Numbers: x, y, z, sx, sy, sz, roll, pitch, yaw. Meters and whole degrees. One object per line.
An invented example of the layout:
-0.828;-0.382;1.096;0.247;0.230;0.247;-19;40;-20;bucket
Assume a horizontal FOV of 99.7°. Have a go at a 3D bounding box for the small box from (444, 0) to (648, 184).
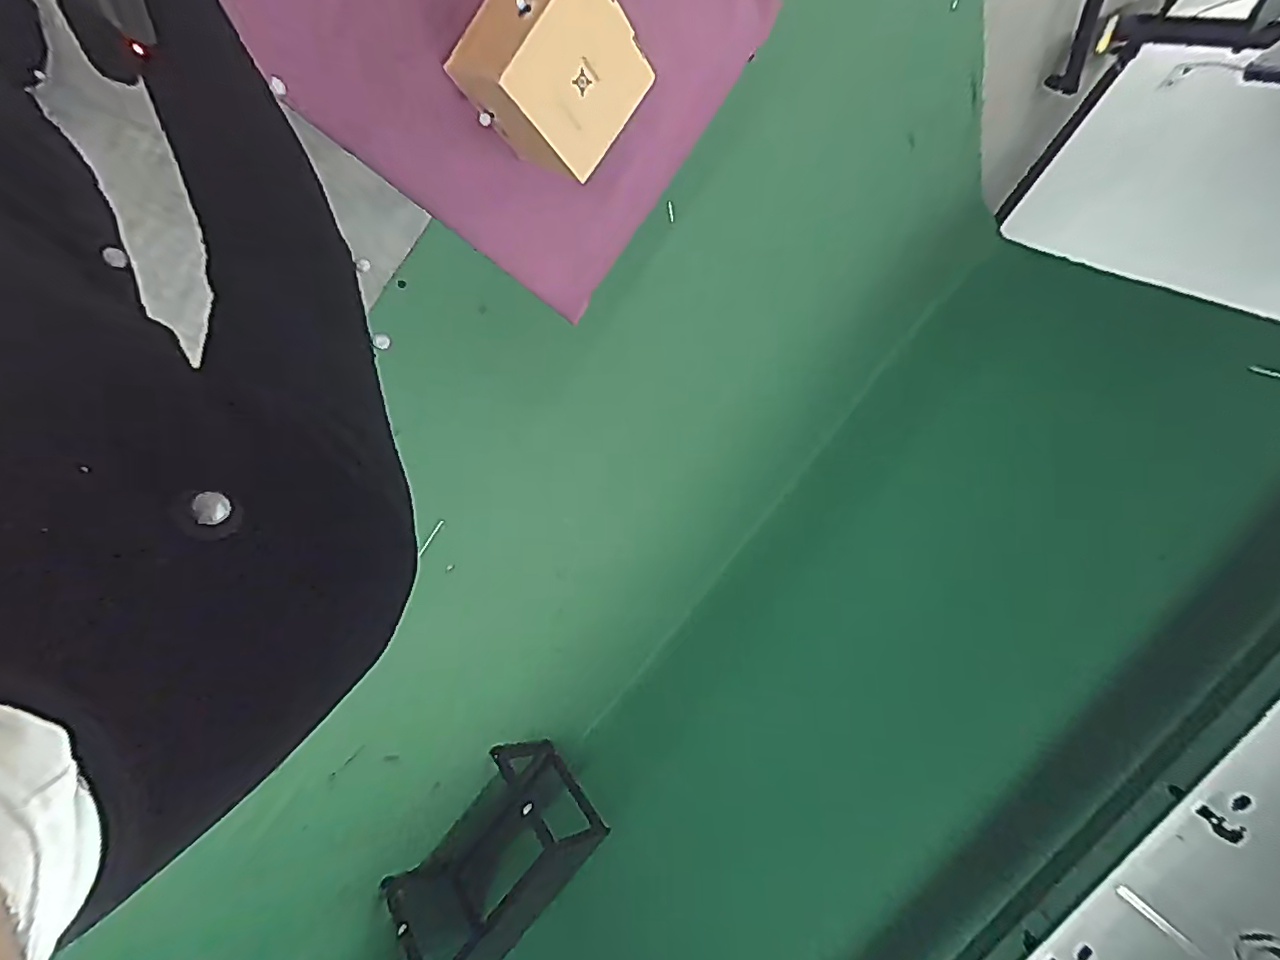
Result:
-0.129;-0.543;0.723;0.179;0.176;0.168;-53;144;5;small box
